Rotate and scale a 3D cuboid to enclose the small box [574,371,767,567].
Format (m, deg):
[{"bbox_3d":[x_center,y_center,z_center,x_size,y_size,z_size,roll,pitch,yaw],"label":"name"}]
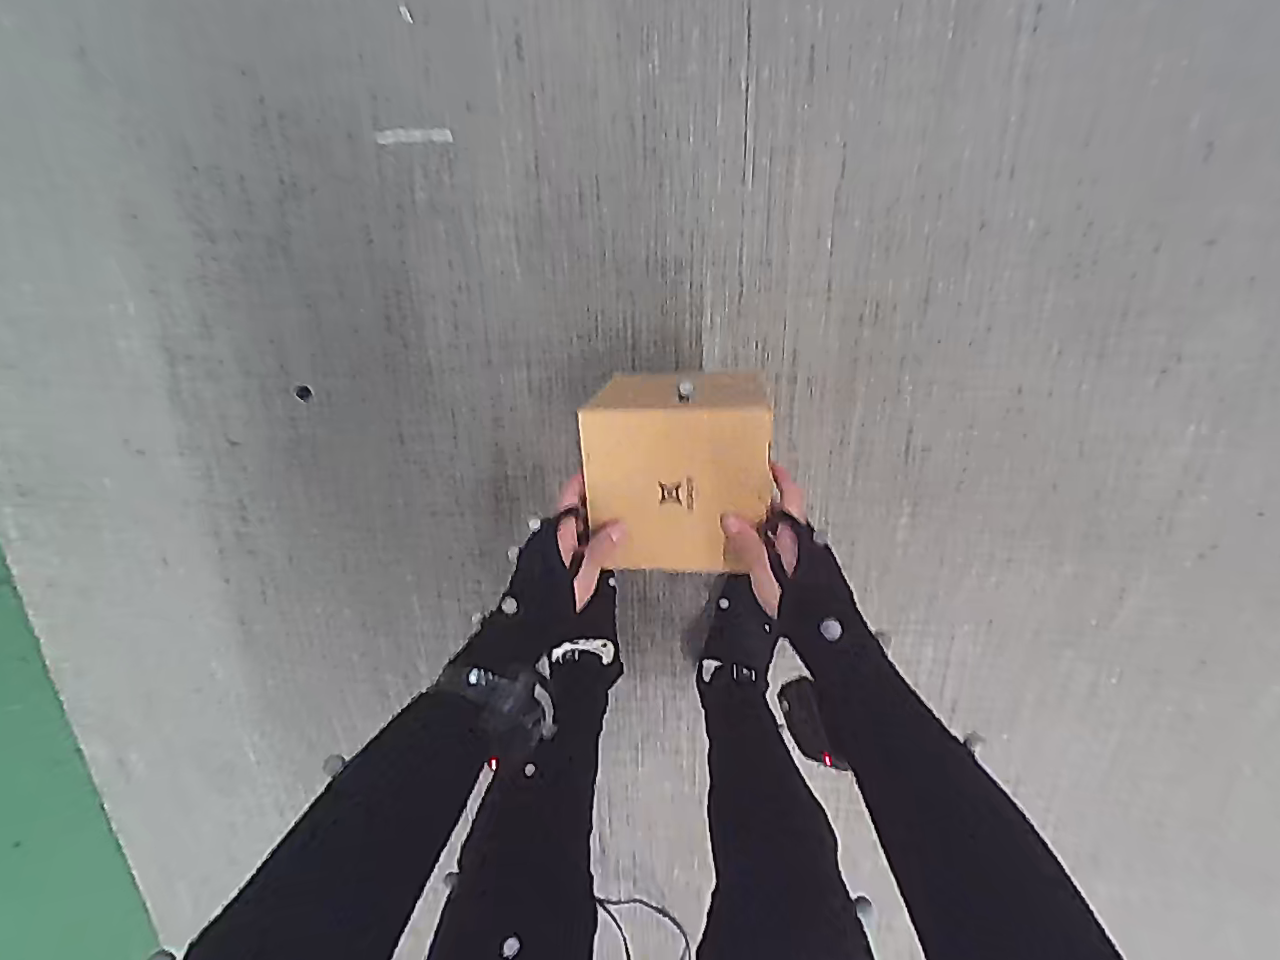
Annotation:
[{"bbox_3d":[0.040,-0.021,0.579,0.179,0.176,0.168,0,111,9],"label":"small box"}]
